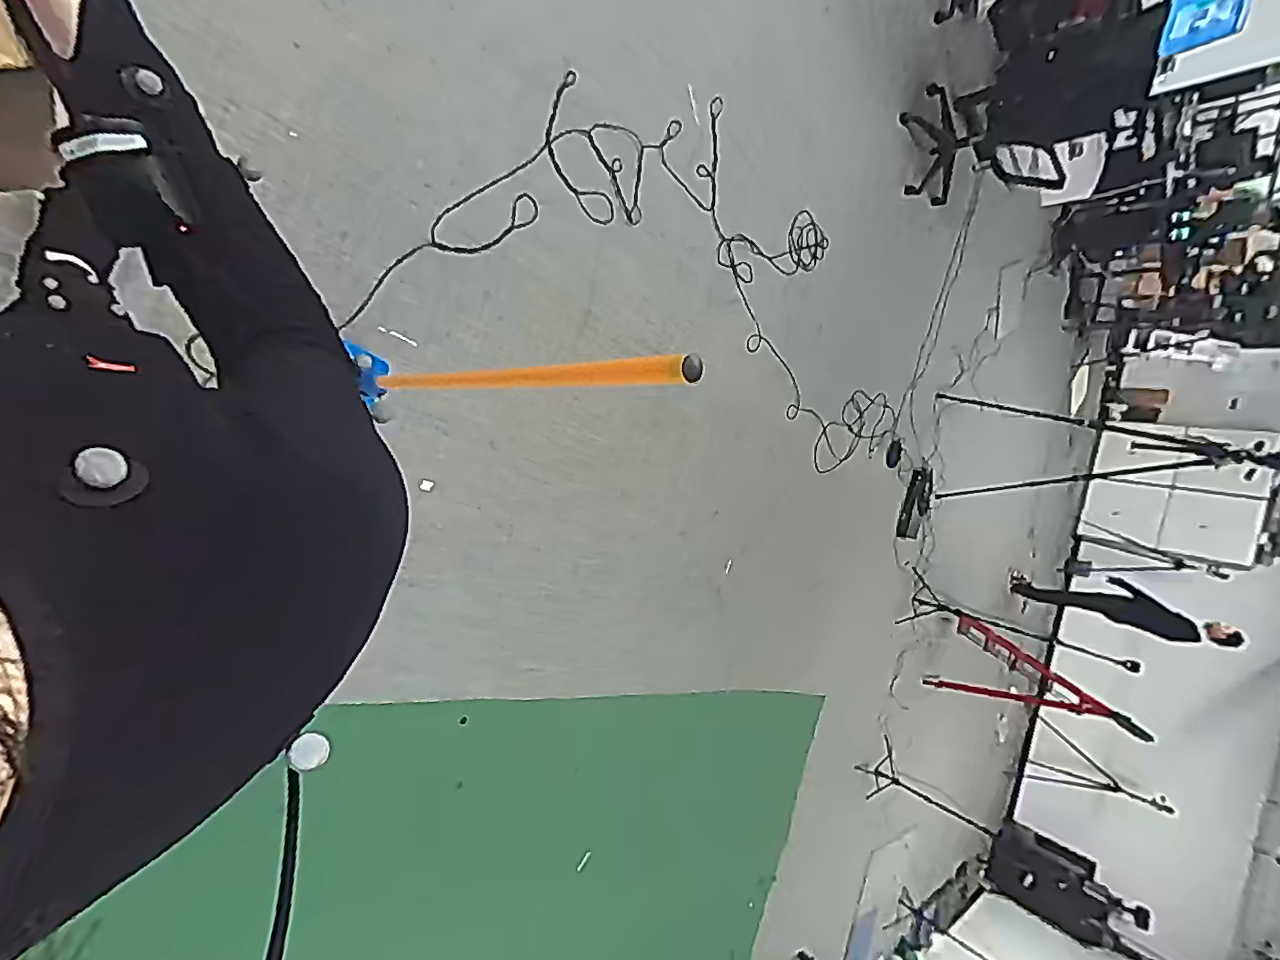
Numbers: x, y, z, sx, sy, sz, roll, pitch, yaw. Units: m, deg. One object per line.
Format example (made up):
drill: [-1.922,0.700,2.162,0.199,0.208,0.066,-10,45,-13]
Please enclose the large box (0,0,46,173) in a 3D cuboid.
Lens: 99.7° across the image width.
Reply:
large box: [-0.634,-0.330,0.249,0.408,0.320,0.320,-35,123,-39]
